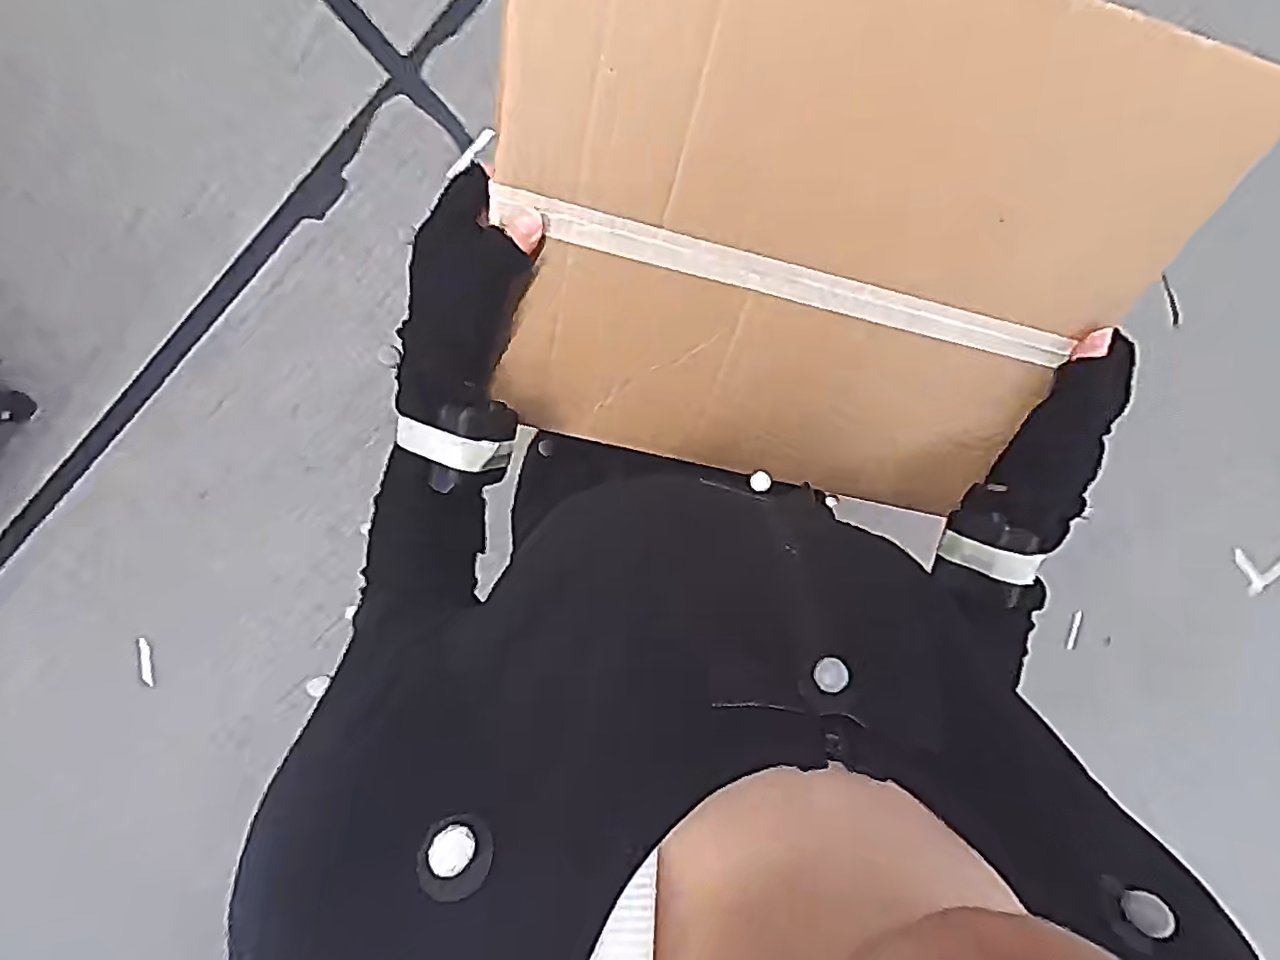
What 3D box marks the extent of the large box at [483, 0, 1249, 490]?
[{"bbox_3d":[0.105,-0.232,0.471,0.408,0.320,0.320,11,129,-7],"label":"large box"}]
